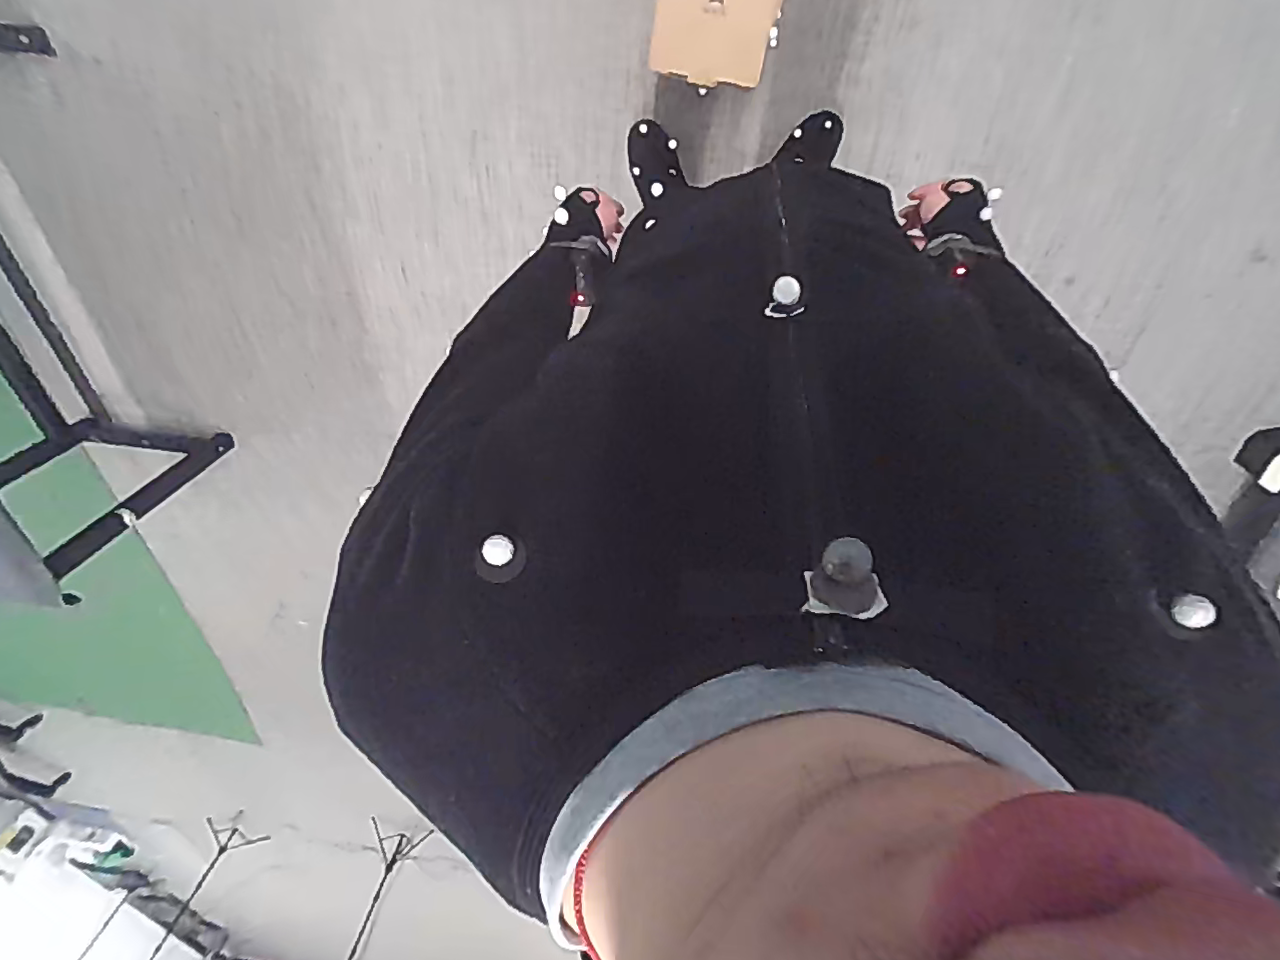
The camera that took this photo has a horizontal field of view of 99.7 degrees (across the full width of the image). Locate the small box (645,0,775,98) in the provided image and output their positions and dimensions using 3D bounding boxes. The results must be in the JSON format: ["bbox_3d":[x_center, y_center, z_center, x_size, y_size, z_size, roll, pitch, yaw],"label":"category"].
[{"bbox_3d":[0.112,-0.700,0.815,0.168,0.176,0.179,12,127,0],"label":"small box"}]
